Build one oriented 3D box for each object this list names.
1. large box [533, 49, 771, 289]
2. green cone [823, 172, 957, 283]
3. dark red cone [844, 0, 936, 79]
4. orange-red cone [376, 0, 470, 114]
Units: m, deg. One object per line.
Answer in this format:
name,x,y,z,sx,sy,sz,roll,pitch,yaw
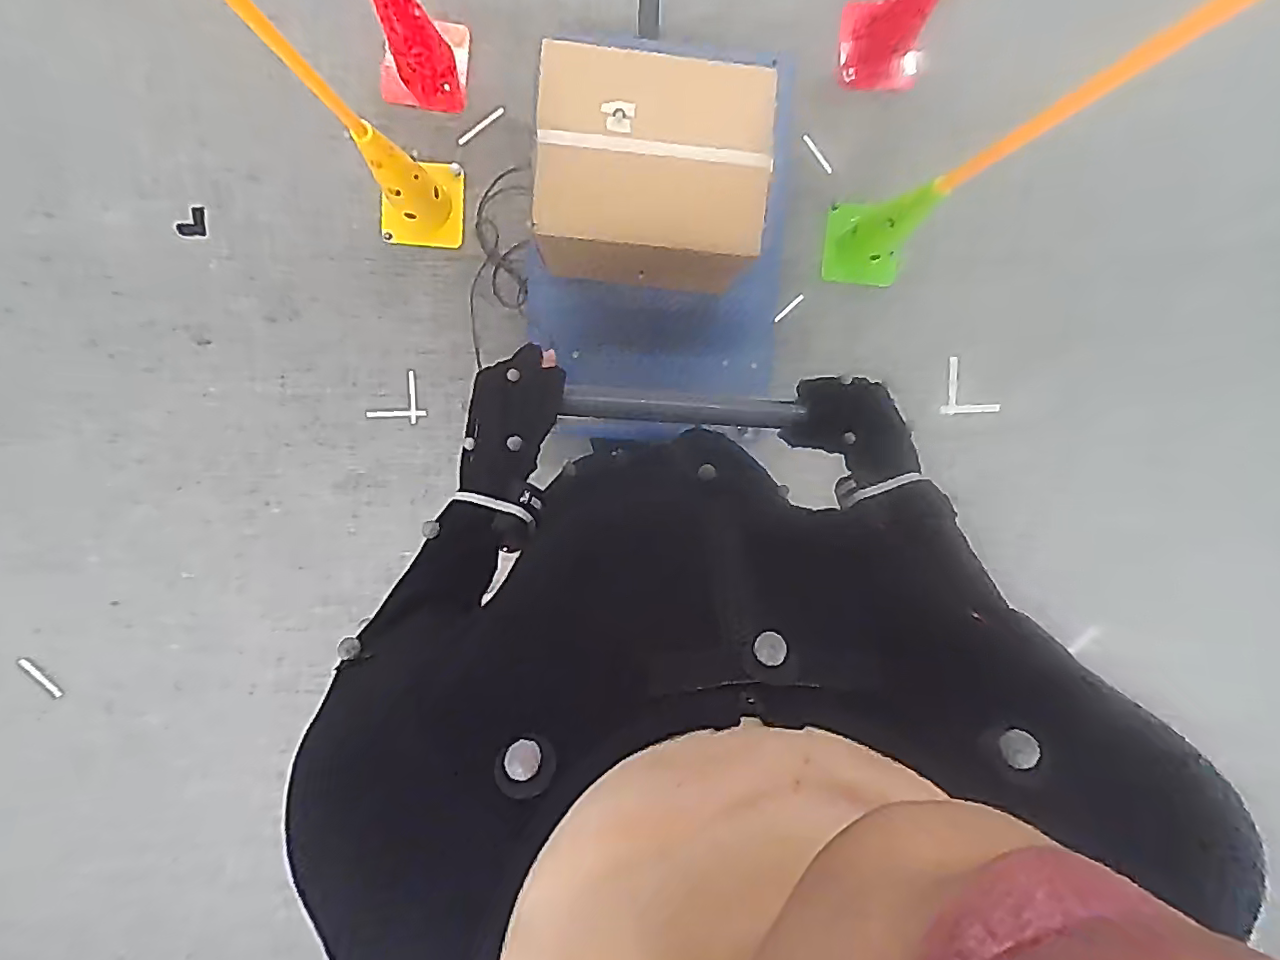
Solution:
large box,0.015,-0.582,1.083,0.408,0.320,0.320,4,96,-3
green cone,0.597,-0.610,1.254,0.202,0.368,0.200,3,96,-4
dark red cone,0.619,-1.090,1.182,0.201,0.394,0.202,0,97,-5
orange-red cone,-0.512,-1.000,1.156,0.198,0.360,0.199,7,95,-5
